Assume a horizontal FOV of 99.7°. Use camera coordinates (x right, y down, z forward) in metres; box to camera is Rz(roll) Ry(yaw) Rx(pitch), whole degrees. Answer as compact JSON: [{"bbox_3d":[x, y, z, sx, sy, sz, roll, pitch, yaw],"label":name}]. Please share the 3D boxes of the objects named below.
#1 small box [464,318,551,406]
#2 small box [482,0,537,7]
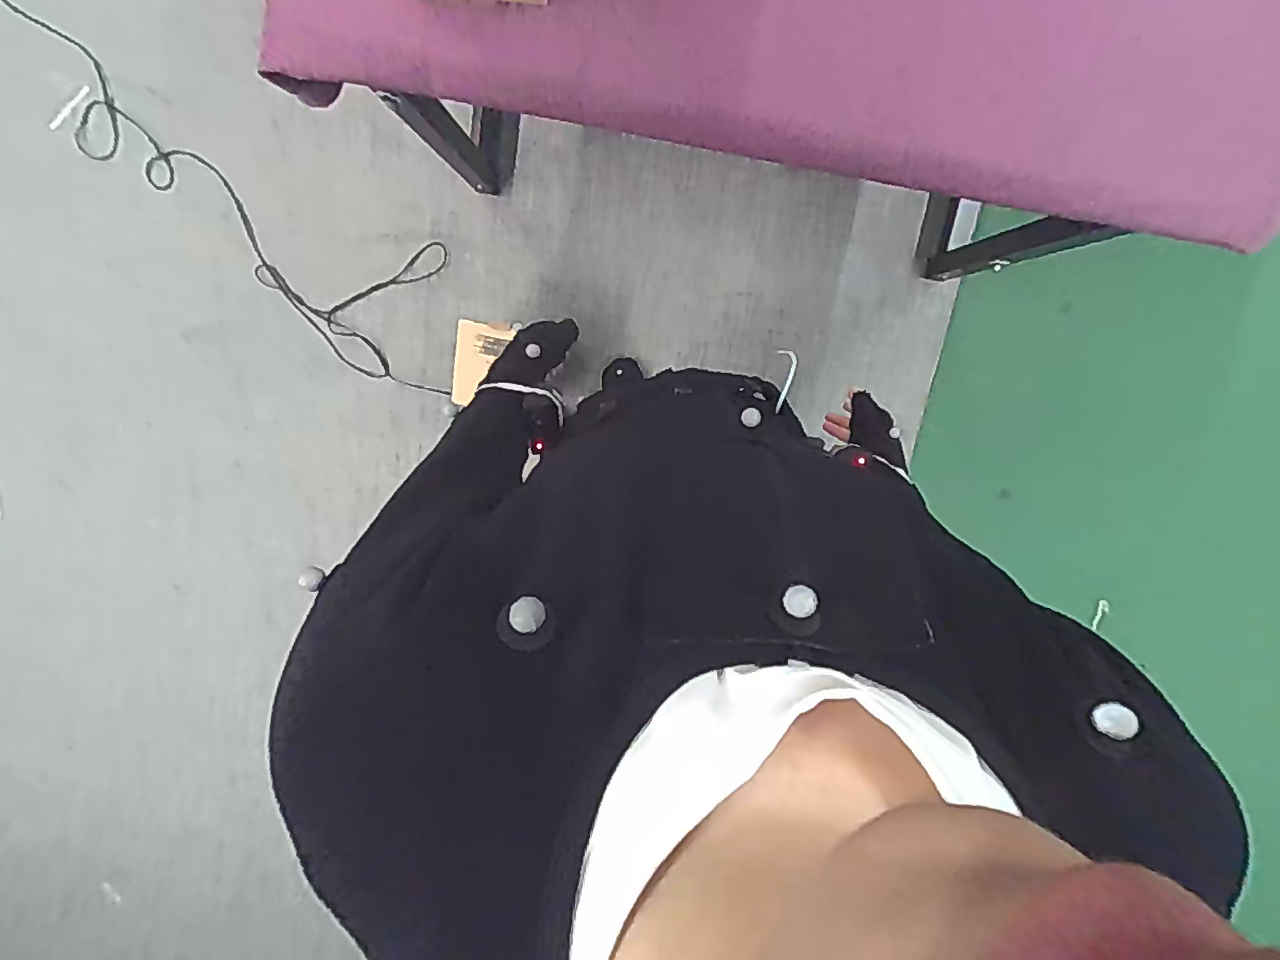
[{"bbox_3d":[-0.322,-0.293,1.339,0.168,0.176,0.179,11,104,-2],"label":"small box"},{"bbox_3d":[-0.184,-0.614,0.518,0.168,0.176,0.179,5,102,-2],"label":"small box"}]
